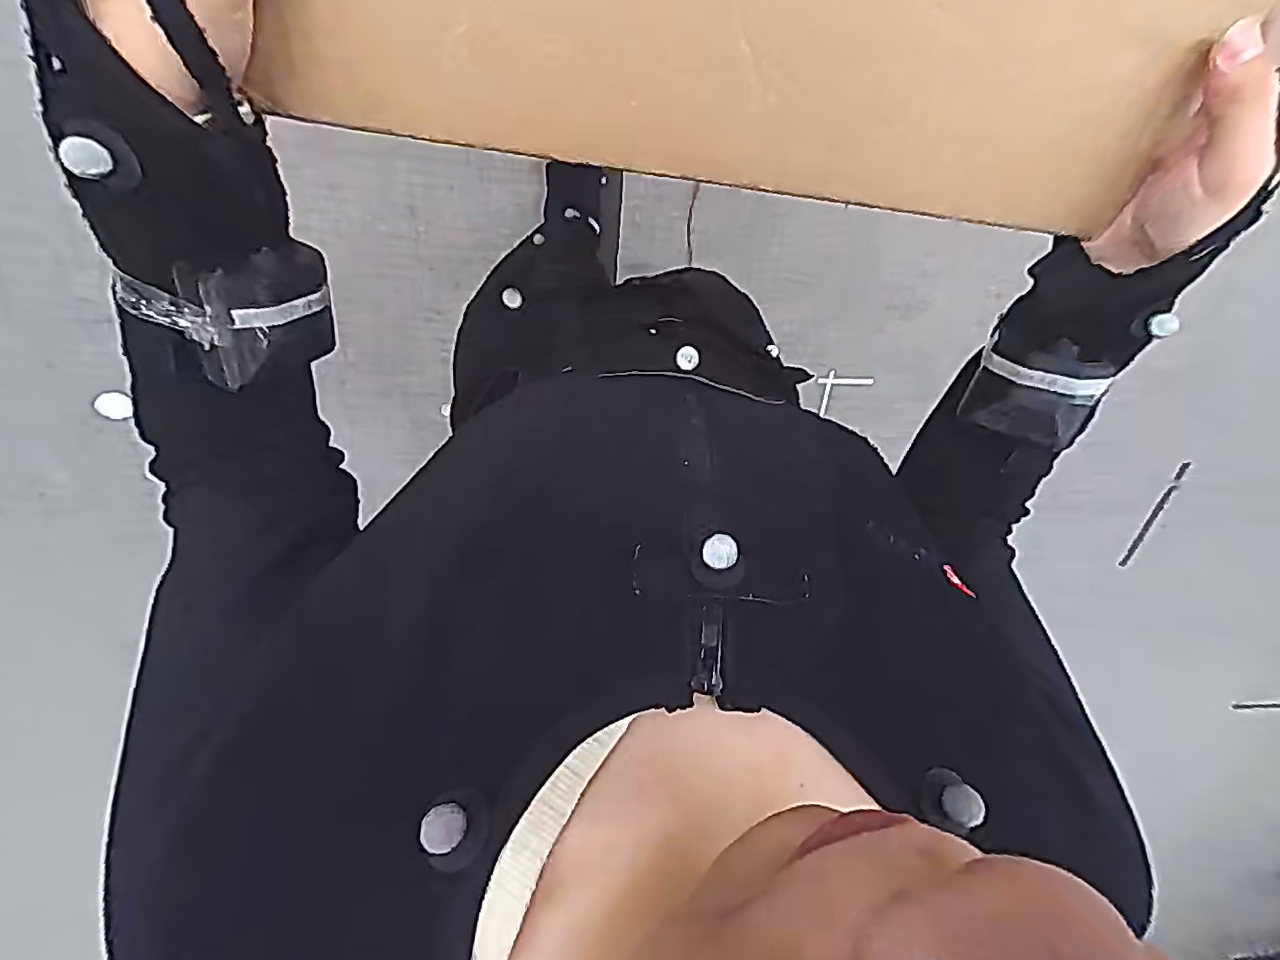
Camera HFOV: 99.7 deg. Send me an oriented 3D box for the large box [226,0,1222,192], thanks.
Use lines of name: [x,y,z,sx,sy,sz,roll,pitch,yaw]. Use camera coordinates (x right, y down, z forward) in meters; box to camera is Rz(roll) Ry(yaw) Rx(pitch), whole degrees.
large box: [0.044,-0.368,0.251,0.408,0.320,0.320,3,134,-10]
